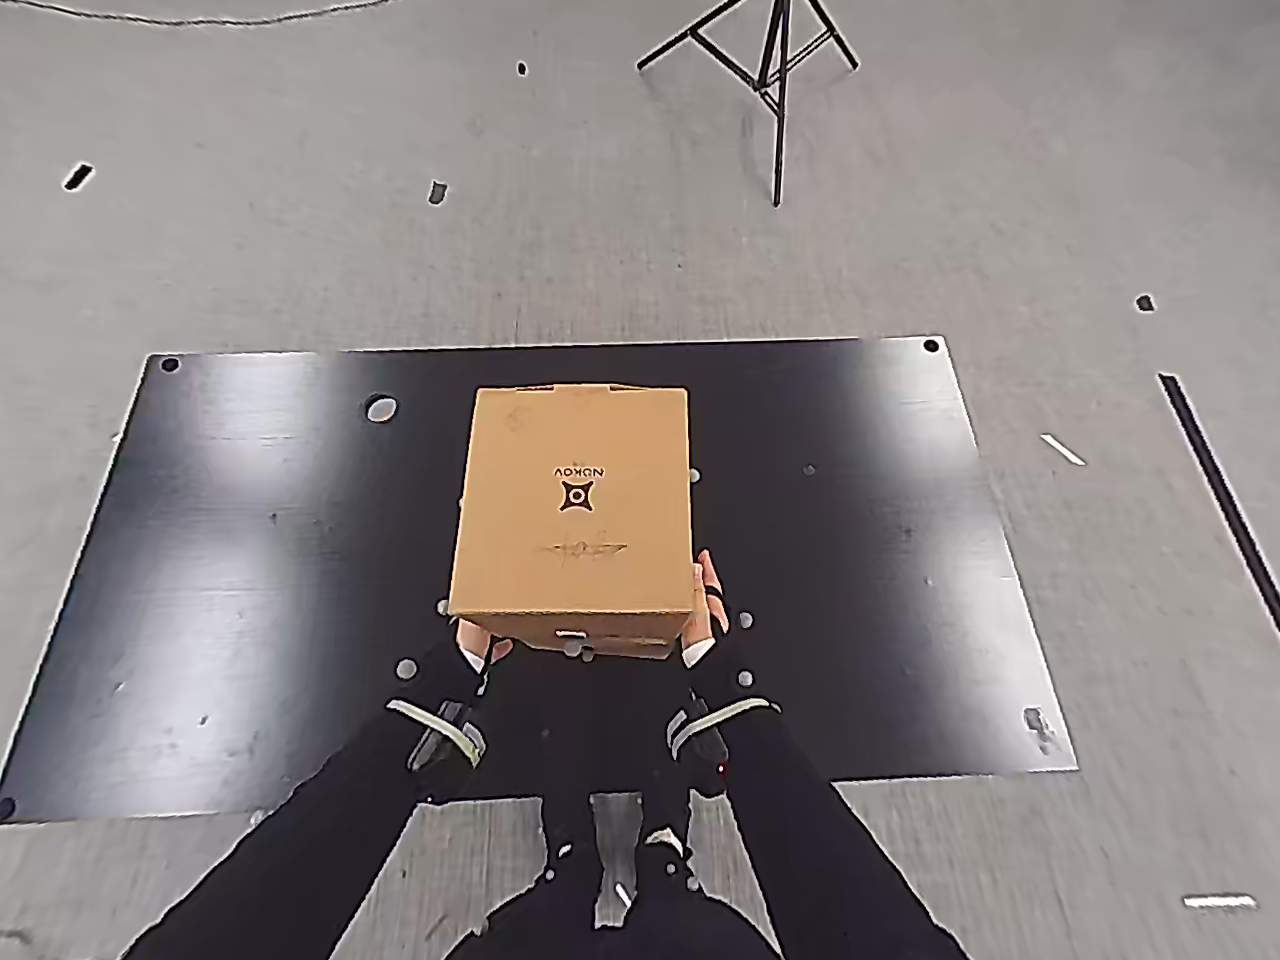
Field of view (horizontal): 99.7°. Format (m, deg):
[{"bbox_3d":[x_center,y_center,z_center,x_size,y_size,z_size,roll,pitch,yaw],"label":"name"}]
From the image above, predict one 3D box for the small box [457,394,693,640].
[{"bbox_3d":[-0.045,0.042,0.476,0.168,0.176,0.179,-1,69,0],"label":"small box"}]
